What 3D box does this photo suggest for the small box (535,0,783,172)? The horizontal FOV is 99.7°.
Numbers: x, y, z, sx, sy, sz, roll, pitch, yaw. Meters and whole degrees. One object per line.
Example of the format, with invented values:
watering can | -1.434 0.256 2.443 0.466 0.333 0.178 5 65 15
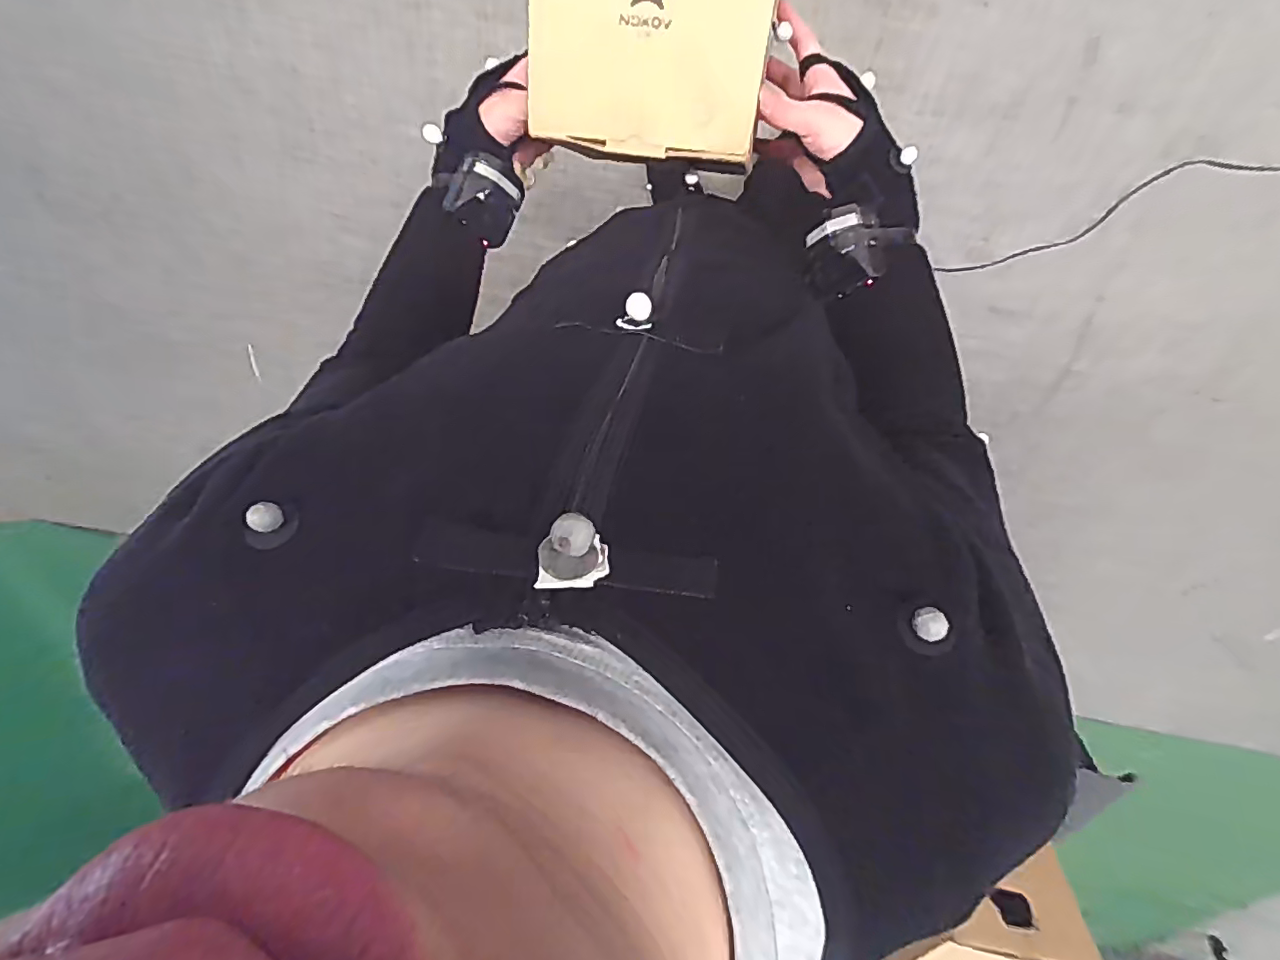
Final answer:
small box | 0.024 -0.355 0.430 0.168 0.176 0.179 9 116 6
